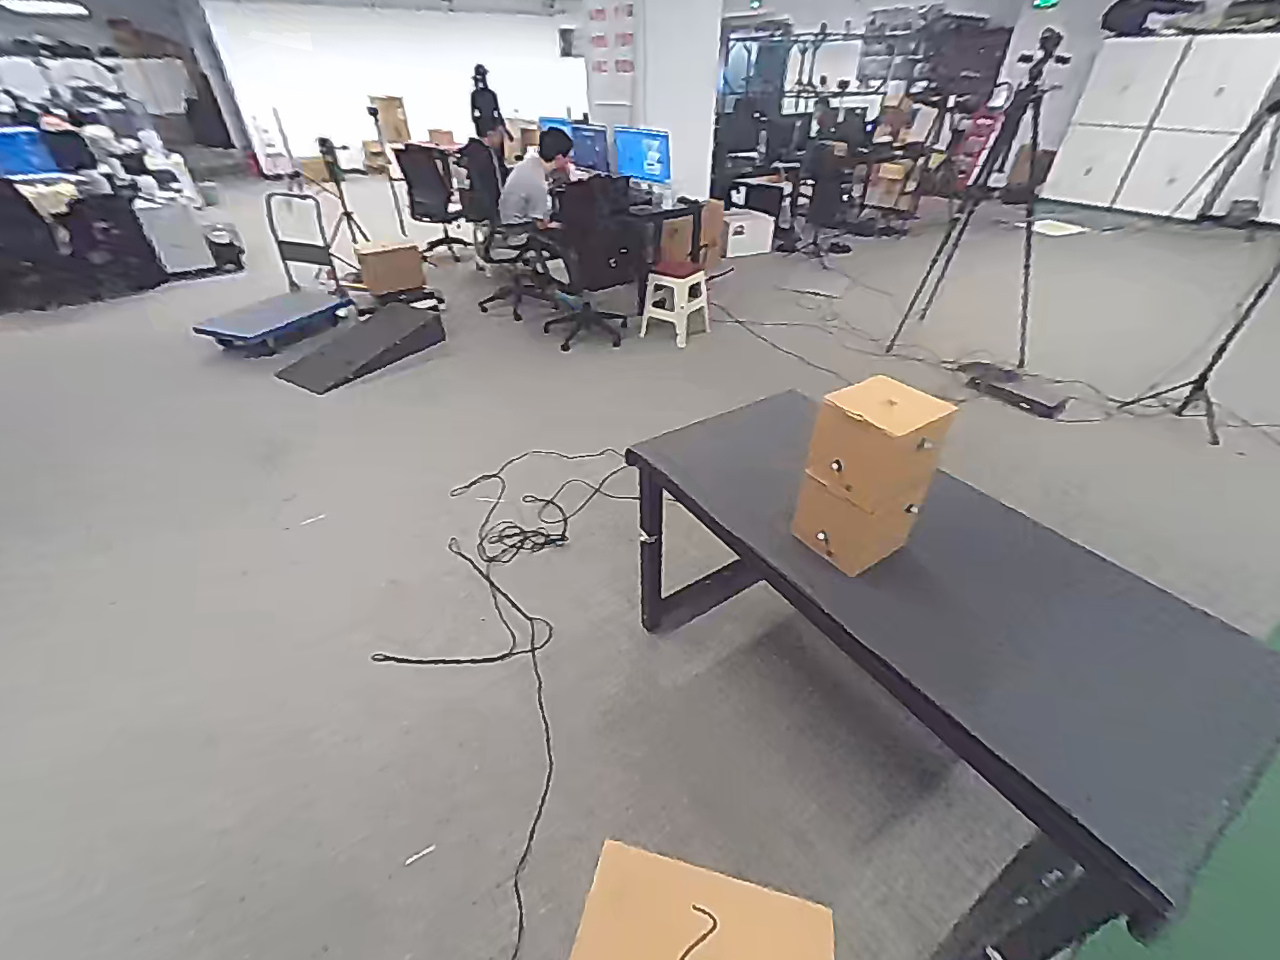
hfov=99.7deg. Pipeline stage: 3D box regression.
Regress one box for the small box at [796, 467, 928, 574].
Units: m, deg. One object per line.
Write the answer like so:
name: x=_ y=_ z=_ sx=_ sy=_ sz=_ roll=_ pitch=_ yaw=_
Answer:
small box: x=0.443 y=0.058 z=1.106 sx=0.179 sy=0.176 sz=0.168 roll=-22 pitch=41 yaw=-27

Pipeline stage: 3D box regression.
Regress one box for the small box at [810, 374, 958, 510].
small box: x=0.443 y=-0.072 z=1.010 sx=0.179 sy=0.176 sz=0.168 roll=-22 pitch=42 yaw=-27
